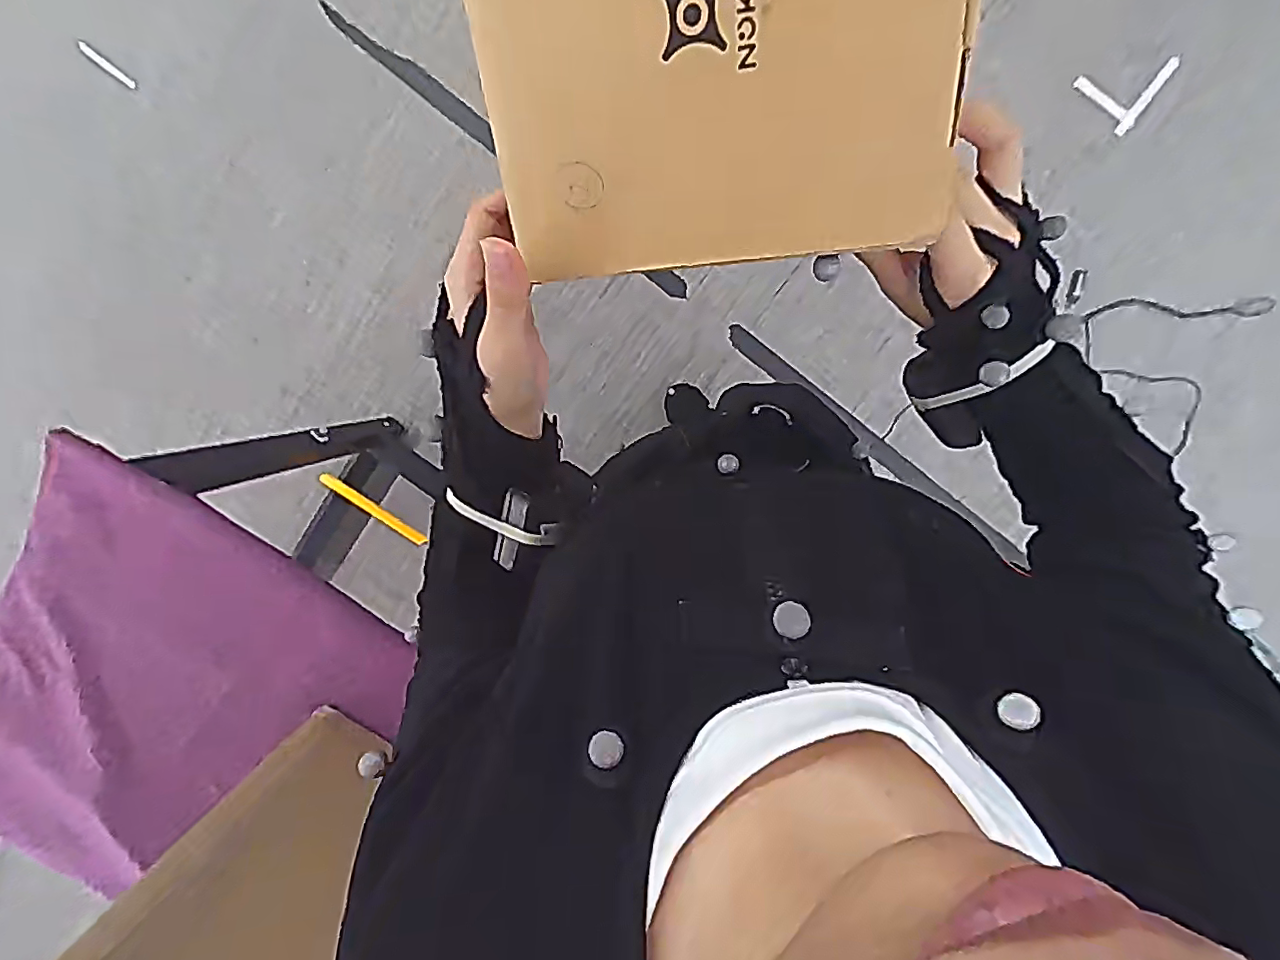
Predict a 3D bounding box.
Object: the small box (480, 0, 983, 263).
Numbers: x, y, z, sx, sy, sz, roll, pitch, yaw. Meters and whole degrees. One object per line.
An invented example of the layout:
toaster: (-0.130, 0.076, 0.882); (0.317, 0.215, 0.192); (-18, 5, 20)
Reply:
small box: (0.039, -0.205, 0.257); (0.179, 0.176, 0.168); (-2, 118, 11)
